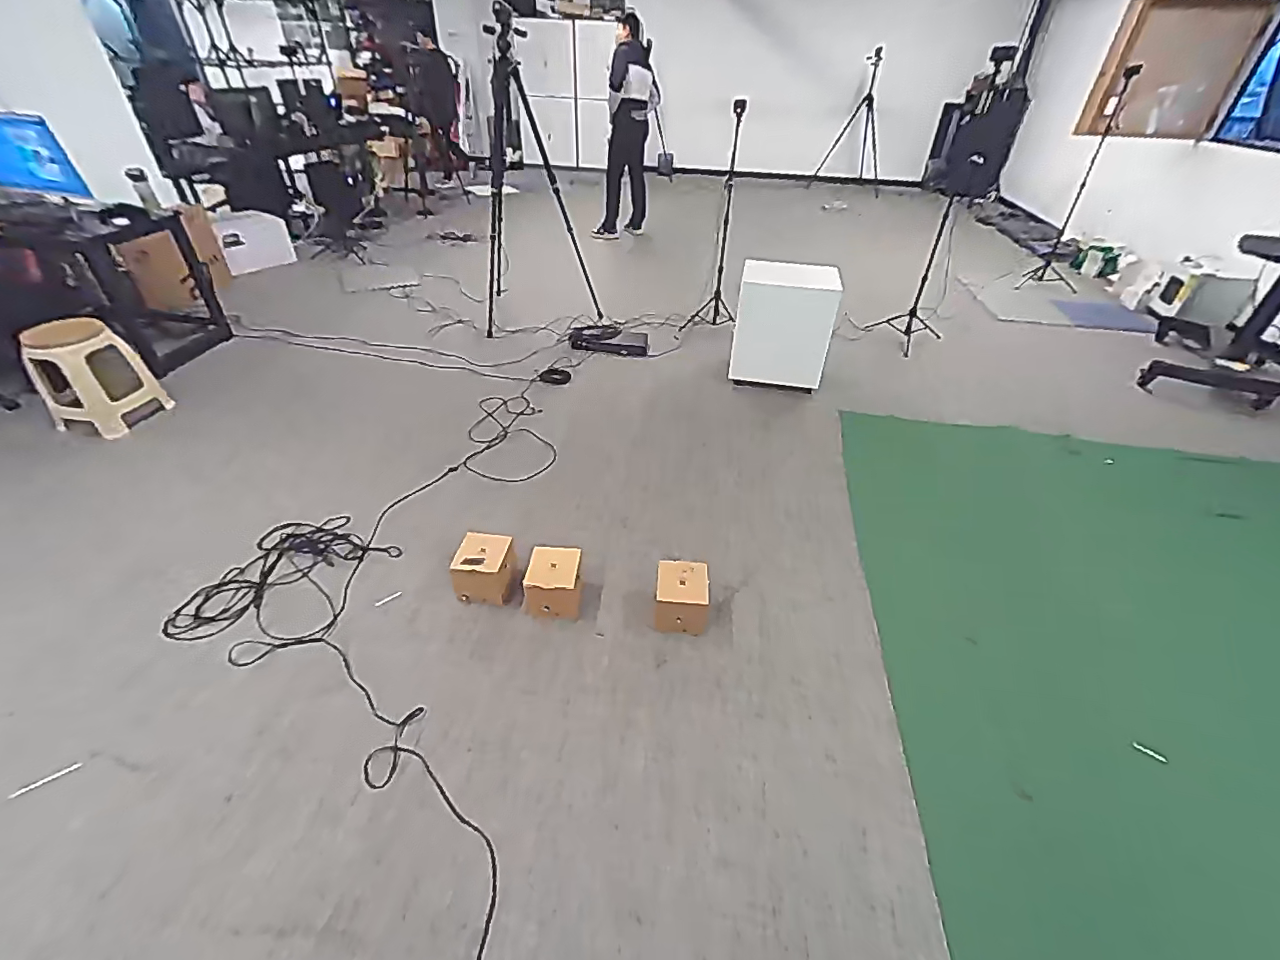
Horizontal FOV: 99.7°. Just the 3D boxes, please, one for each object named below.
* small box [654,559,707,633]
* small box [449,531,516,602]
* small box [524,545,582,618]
[{"bbox_3d":[0.135,0.388,1.801,0.168,0.176,0.179,5,39,1],"label":"small box"},{"bbox_3d":[-0.537,0.302,1.876,0.168,0.176,0.179,5,38,4],"label":"small box"},{"bbox_3d":[-0.288,0.344,1.836,0.168,0.176,0.179,3,40,2],"label":"small box"}]
